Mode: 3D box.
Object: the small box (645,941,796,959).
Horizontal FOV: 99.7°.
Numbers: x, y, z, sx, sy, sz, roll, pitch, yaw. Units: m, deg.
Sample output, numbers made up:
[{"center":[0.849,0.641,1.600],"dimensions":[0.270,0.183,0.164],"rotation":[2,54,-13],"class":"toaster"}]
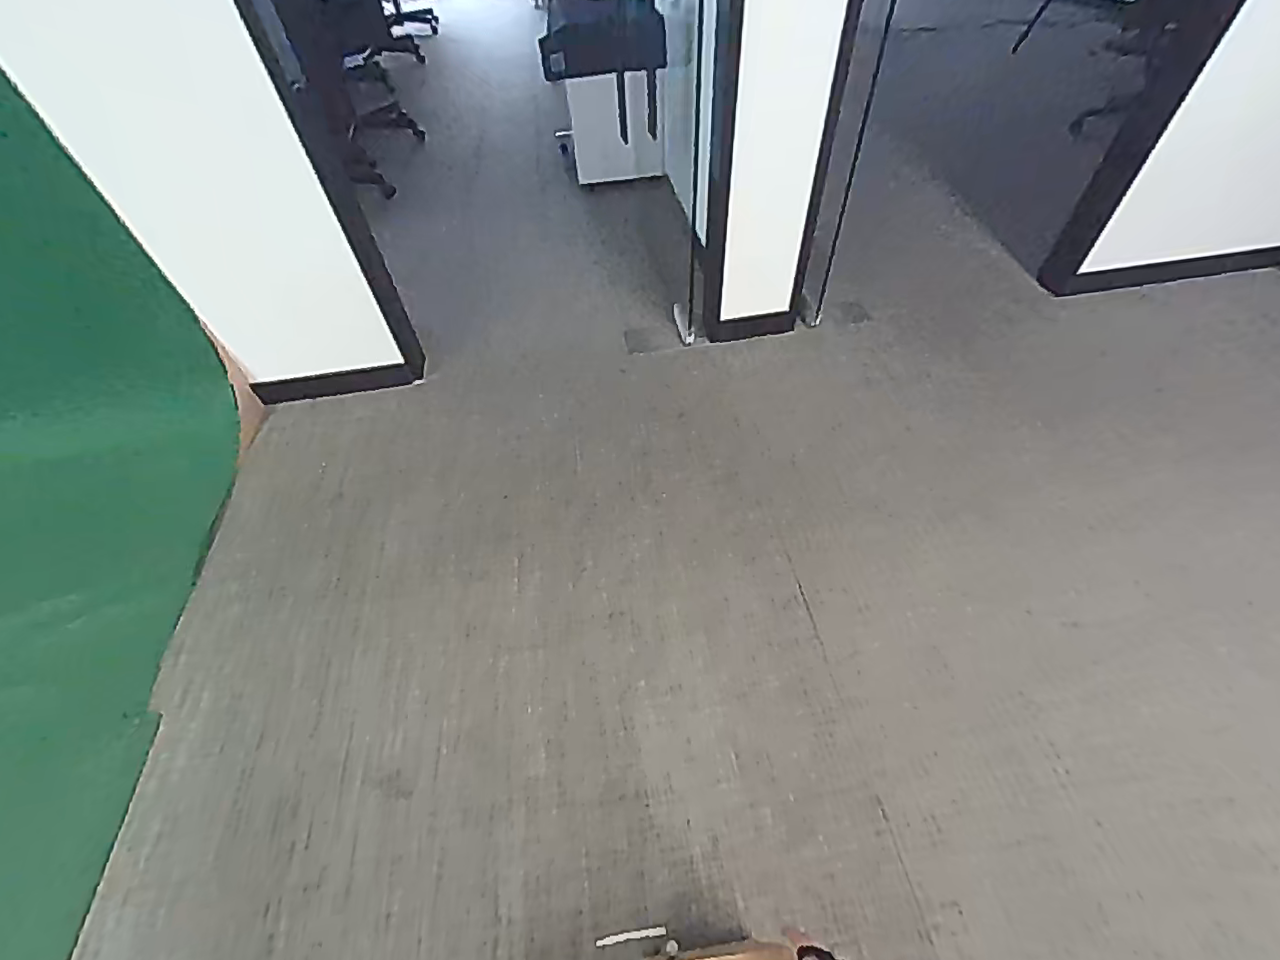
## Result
[{"center":[0.091,0.619,0.587],"dimensions":[0.179,0.176,0.168],"rotation":[-7,52,-1],"class":"small box"}]
